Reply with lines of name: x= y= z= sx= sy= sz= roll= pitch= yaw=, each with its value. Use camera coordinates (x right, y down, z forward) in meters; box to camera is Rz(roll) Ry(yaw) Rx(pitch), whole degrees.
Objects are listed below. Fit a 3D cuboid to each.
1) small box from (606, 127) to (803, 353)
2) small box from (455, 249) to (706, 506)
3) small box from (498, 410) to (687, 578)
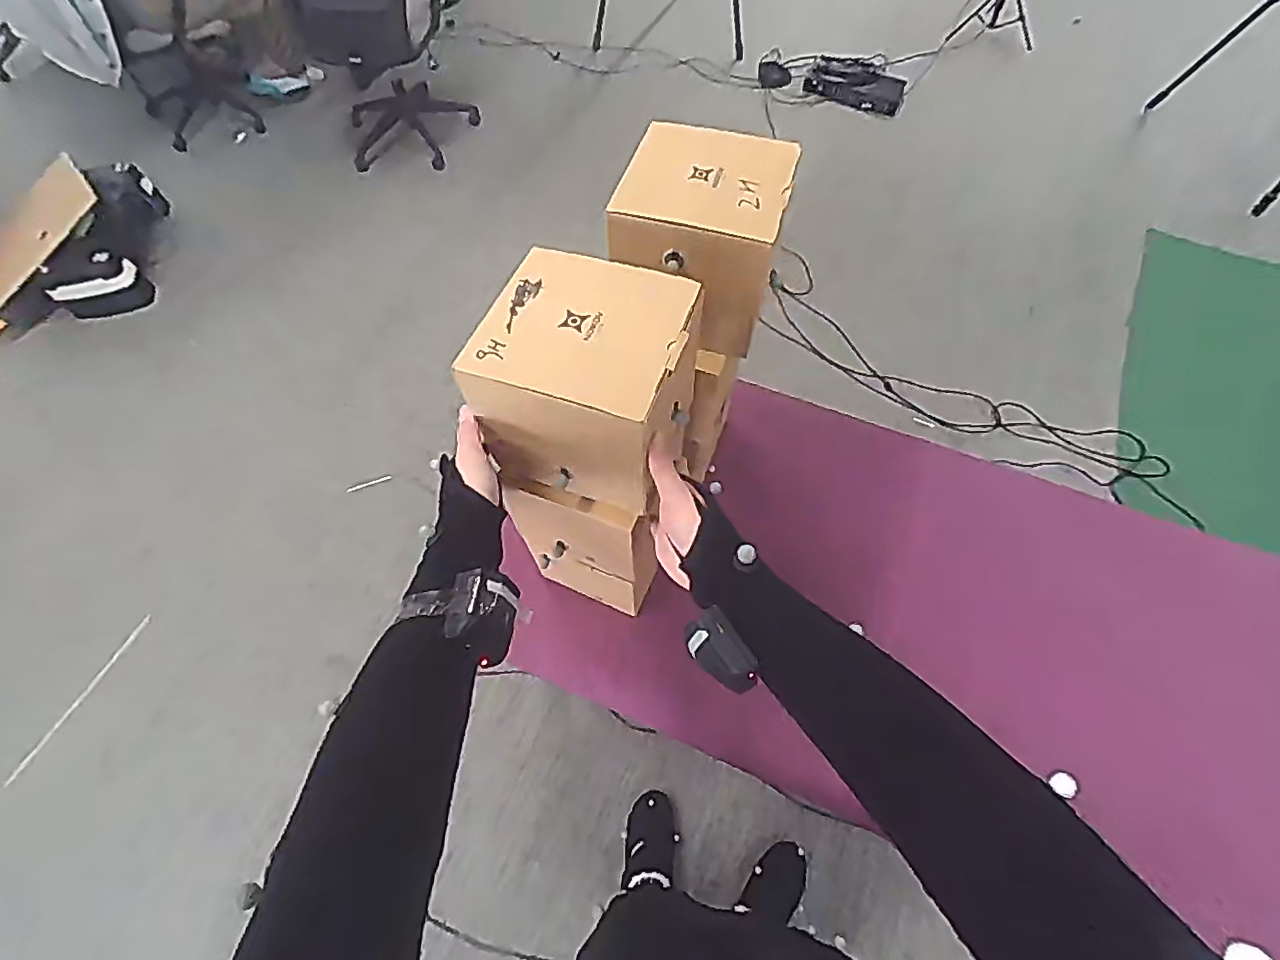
small box: x=0.072 y=-0.275 z=0.640 sx=0.179 sy=0.176 sz=0.168 roll=16 pitch=64 yaw=9
small box: x=-0.048 y=-0.093 z=0.544 sx=0.179 sy=0.176 sz=0.168 roll=18 pitch=61 yaw=10
small box: x=-0.051 y=-0.003 z=0.682 sx=0.168 sy=0.176 sz=0.179 roll=19 pitch=63 yaw=11
